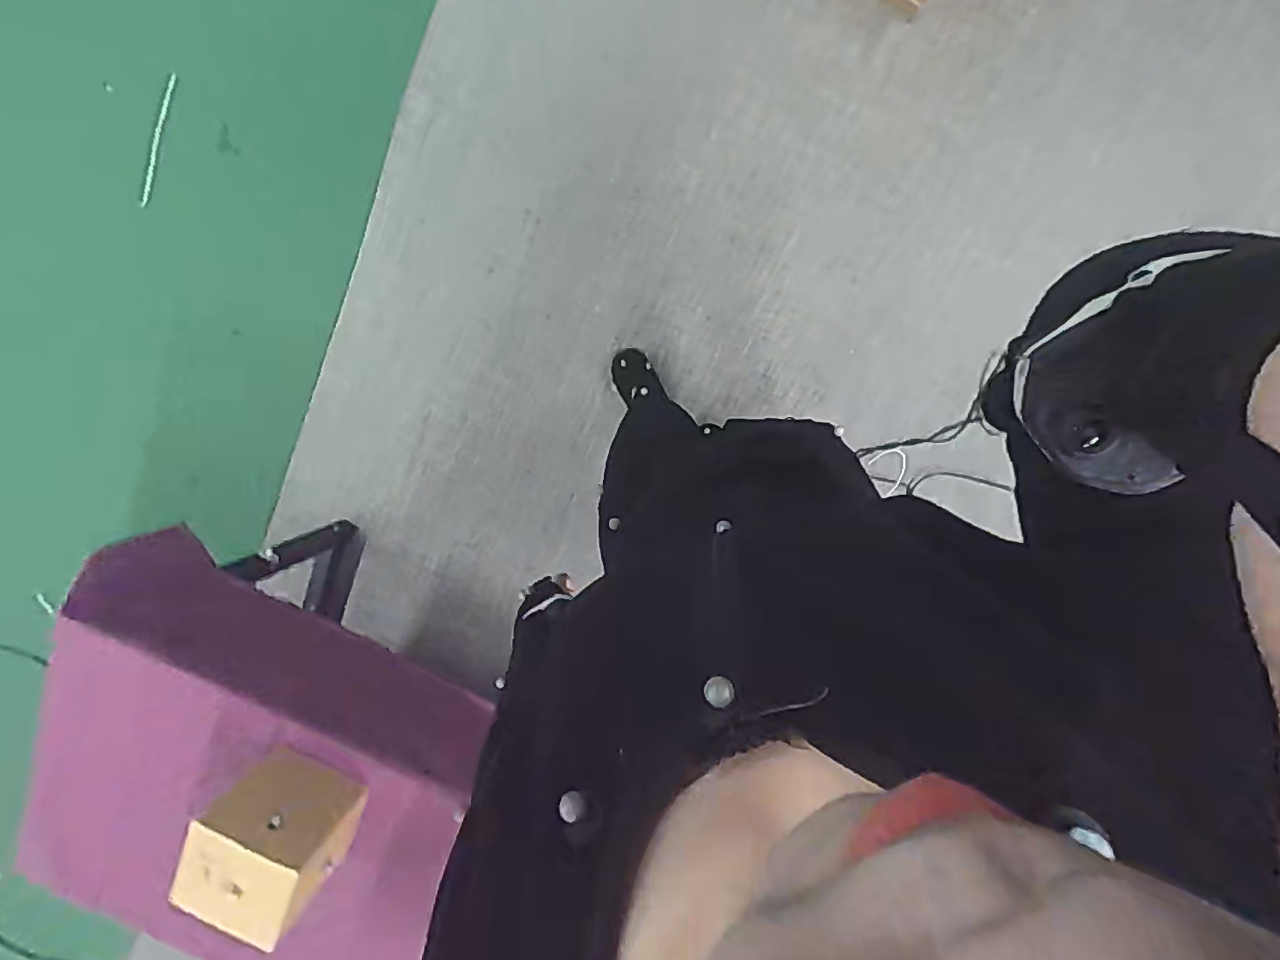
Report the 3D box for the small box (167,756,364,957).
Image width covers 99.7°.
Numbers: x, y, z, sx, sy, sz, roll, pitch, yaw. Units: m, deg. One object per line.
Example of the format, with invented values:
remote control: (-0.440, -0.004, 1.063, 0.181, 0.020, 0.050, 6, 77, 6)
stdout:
small box: (-0.579, 0.580, 0.856, 0.179, 0.176, 0.168, 25, 102, 2)
